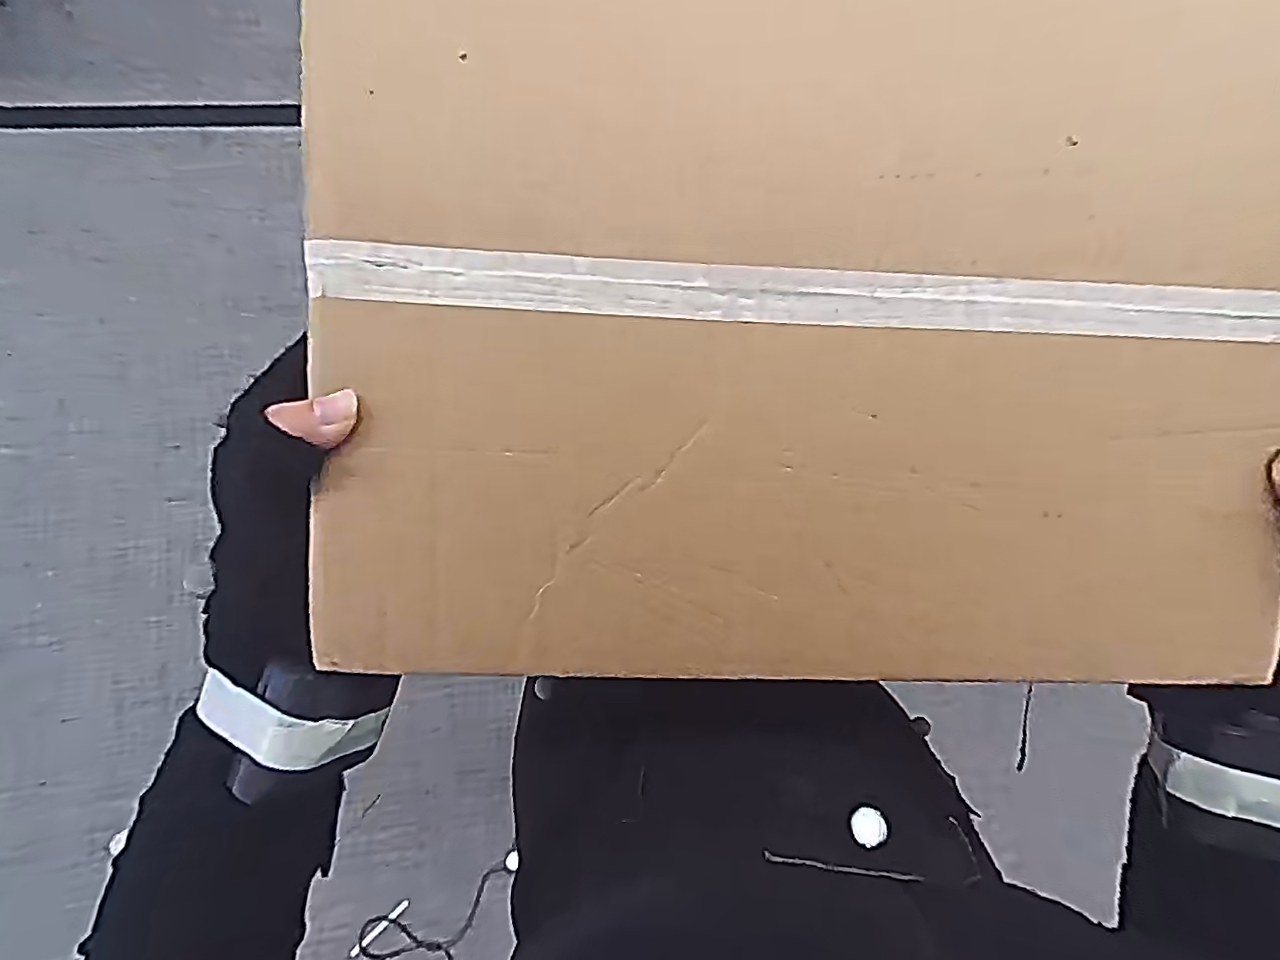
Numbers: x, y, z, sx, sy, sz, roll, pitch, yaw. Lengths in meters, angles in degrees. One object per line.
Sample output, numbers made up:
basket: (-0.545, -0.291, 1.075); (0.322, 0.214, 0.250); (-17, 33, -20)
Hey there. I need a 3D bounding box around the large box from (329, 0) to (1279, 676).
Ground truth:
large box: (0.068, -0.079, 0.376); (0.408, 0.320, 0.320); (2, 94, -4)
